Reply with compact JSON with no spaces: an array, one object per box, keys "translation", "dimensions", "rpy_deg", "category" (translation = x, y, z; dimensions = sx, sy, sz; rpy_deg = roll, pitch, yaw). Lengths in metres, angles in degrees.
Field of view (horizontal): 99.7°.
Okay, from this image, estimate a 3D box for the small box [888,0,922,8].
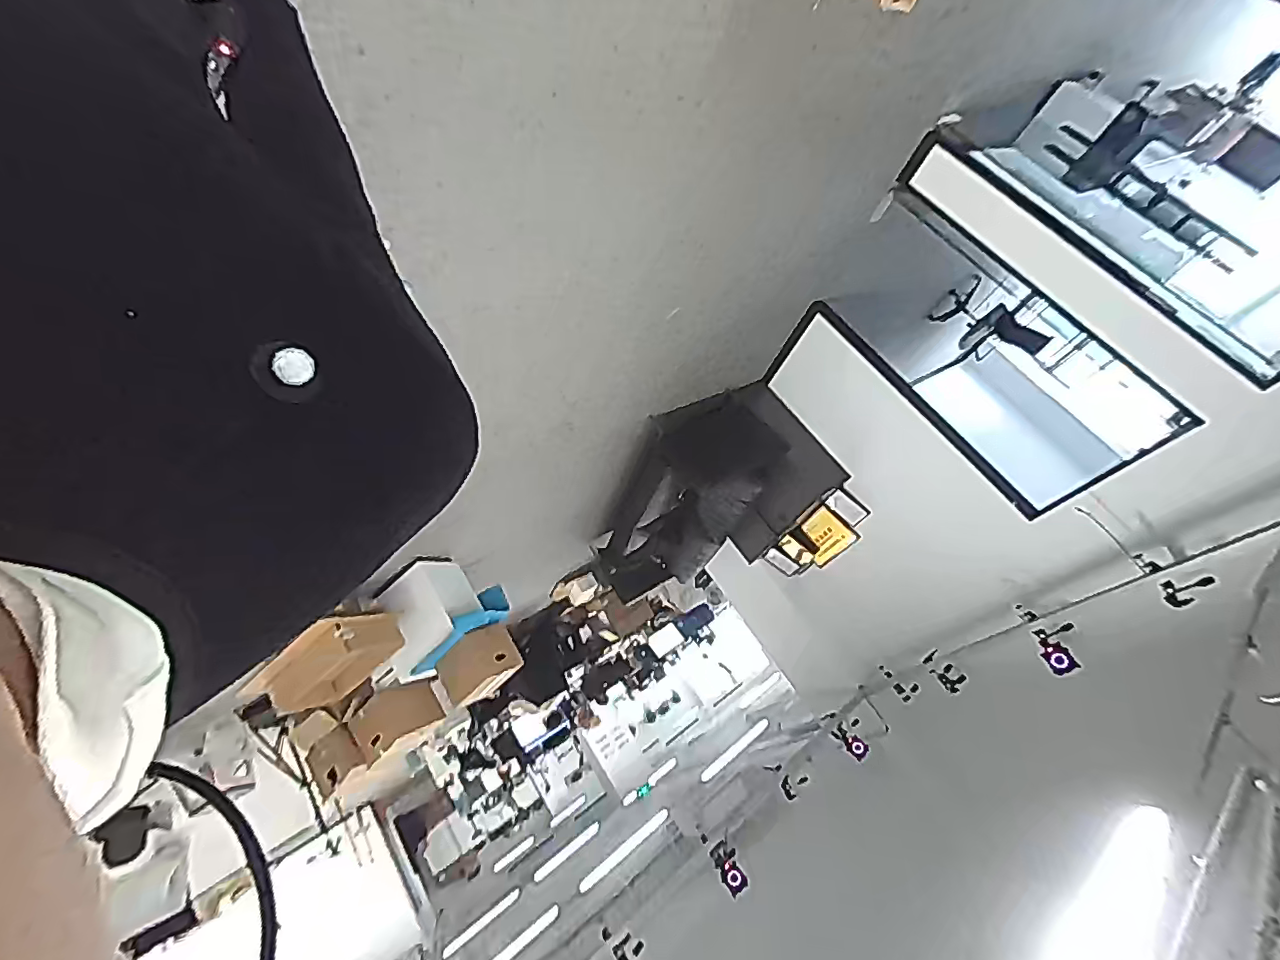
[{"translation":[0.688,-1.395,1.422],"dimensions":[0.168,0.176,0.179],"rpy_deg":[-24,157,-32],"category":"small box"}]
